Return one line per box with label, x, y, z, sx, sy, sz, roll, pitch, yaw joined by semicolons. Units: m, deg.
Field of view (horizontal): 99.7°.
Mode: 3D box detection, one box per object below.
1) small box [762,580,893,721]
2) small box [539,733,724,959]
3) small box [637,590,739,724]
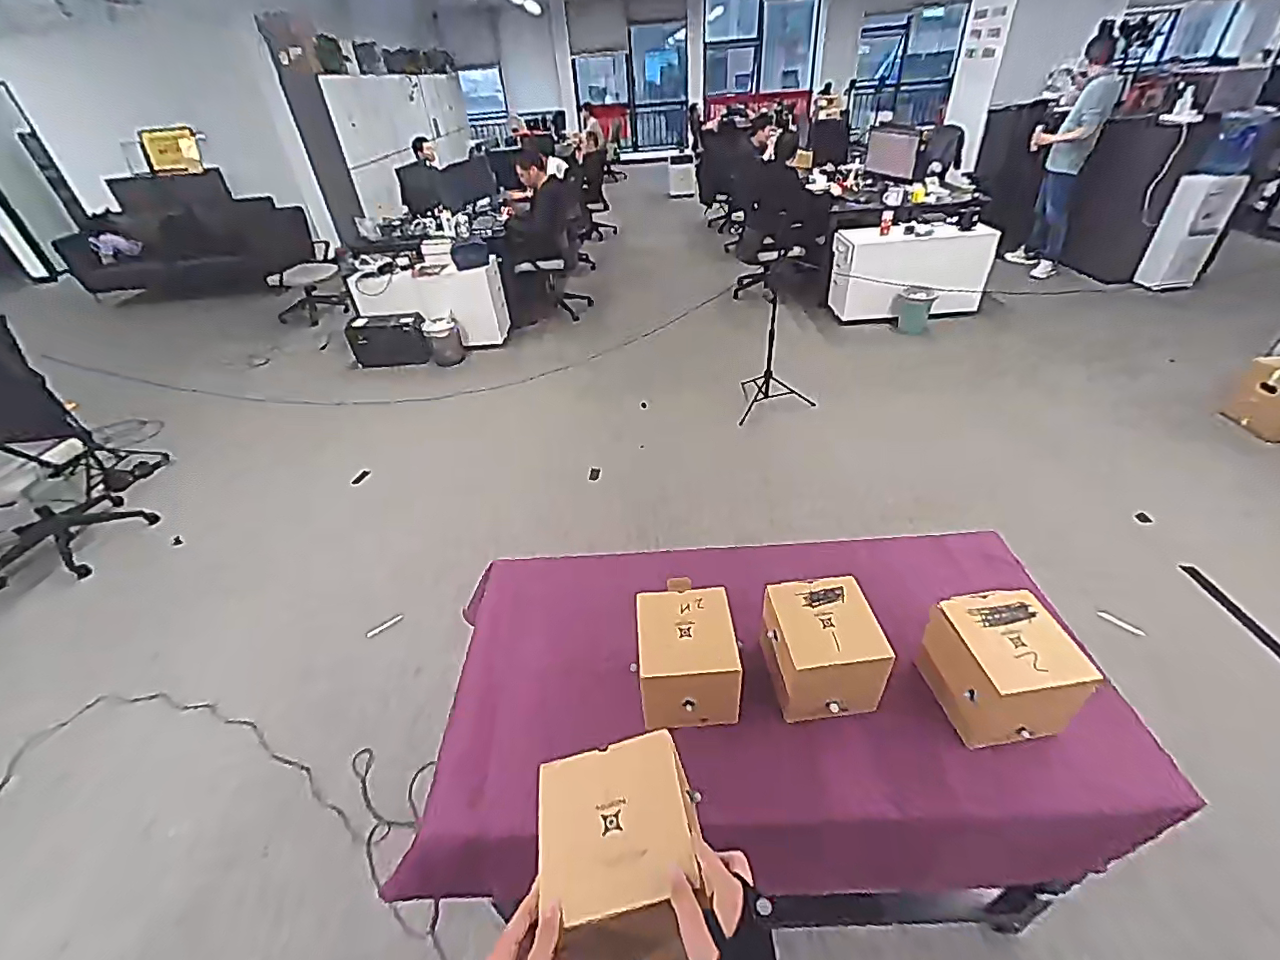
small box;0.326;0.308;0.984;0.168;0.176;0.179;-6;38;-2
small box;-0.010;0.441;0.633;0.168;0.176;0.179;-15;28;0
small box;0.084;0.326;0.986;0.168;0.176;0.179;-4;37;1
